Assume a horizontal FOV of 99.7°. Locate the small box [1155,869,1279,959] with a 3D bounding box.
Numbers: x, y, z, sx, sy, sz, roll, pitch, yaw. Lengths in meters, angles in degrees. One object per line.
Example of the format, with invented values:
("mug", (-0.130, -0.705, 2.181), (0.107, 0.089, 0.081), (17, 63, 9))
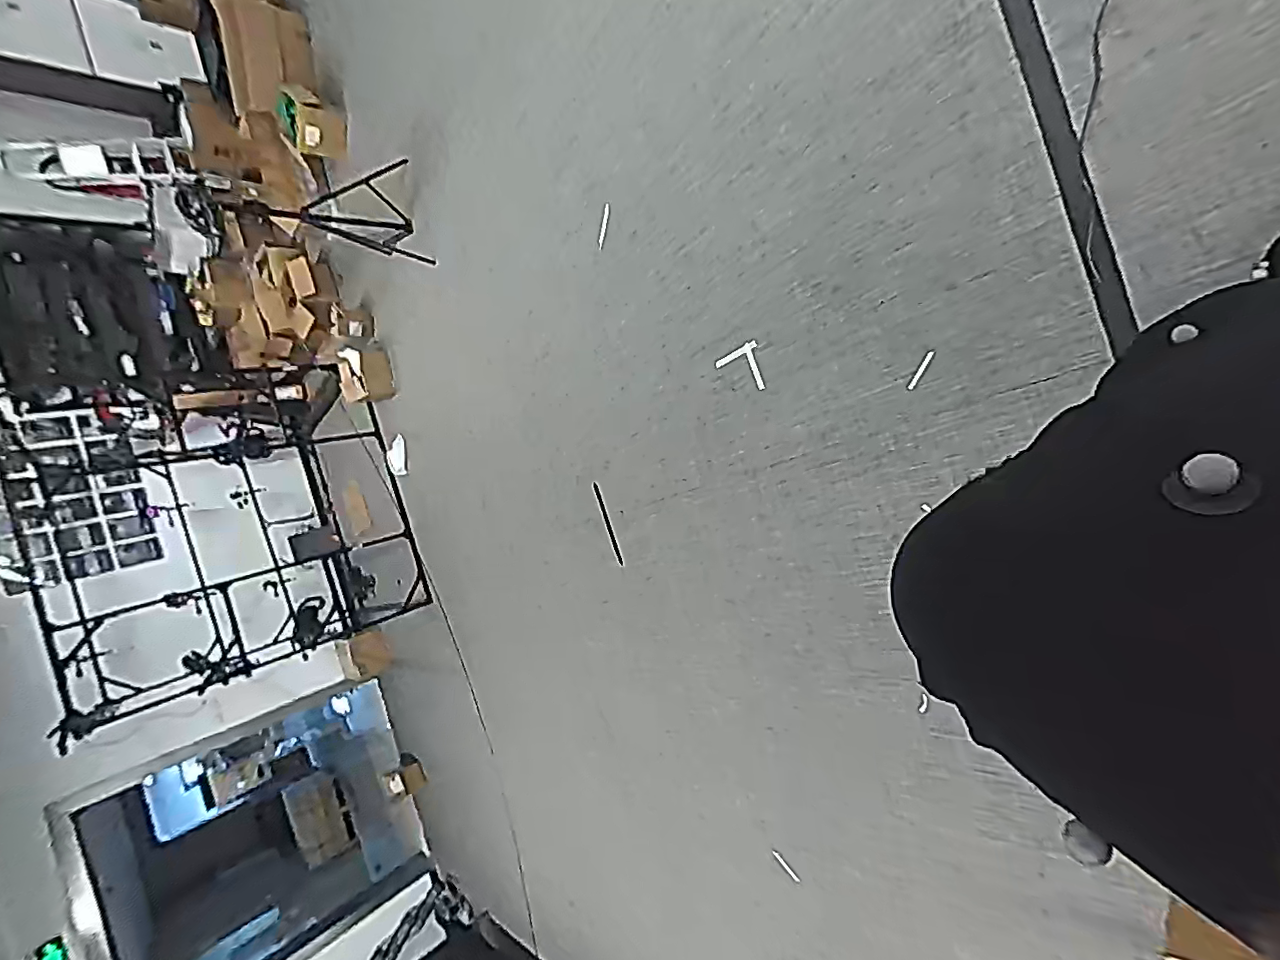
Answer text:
("small box", (0.819, 0.684, 0.722), (0.168, 0.176, 0.179), (-8, 97, 48))
